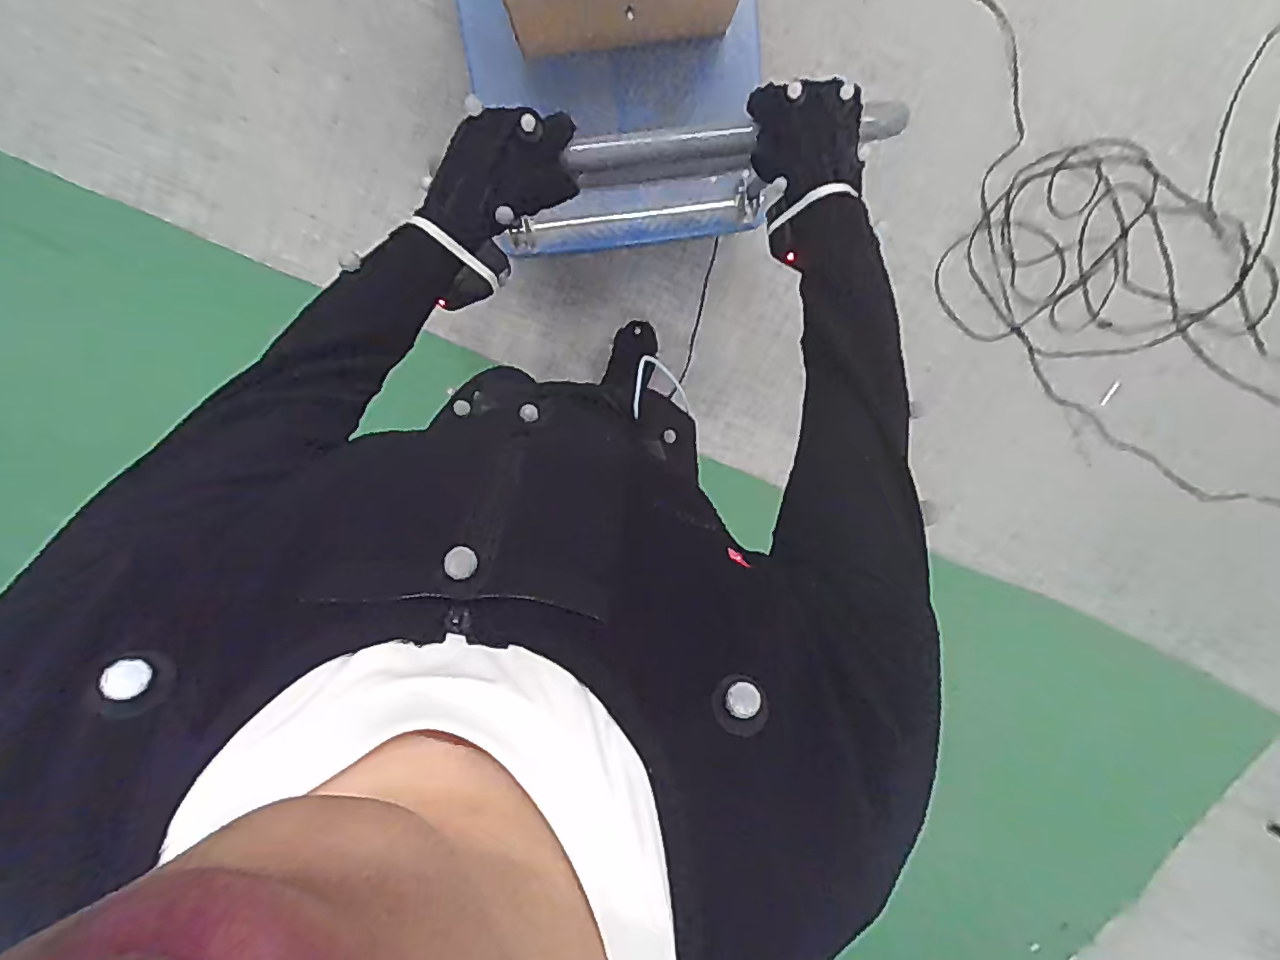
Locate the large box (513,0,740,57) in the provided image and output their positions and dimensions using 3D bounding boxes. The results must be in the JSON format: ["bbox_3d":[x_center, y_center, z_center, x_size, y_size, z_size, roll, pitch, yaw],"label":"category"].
[{"bbox_3d":[-0.032,-0.959,0.879,0.408,0.320,0.320,-9,107,0],"label":"large box"}]
